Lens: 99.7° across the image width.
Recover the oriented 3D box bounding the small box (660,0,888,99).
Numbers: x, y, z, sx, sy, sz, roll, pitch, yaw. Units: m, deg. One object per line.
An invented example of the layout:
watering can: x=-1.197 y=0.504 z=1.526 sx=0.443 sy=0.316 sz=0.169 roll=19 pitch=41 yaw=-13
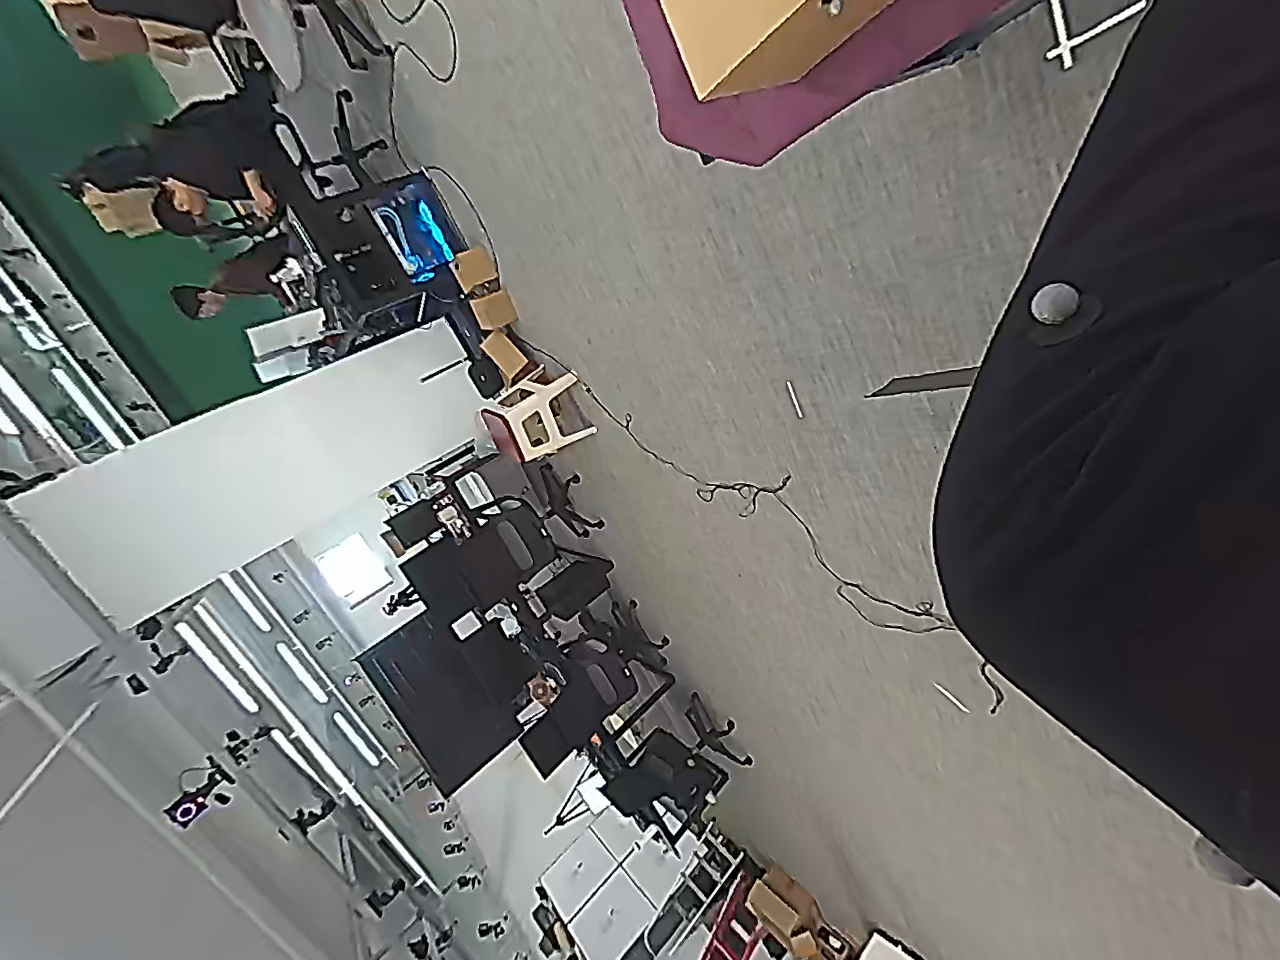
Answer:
small box: x=0.129 y=-0.491 z=0.490 sx=0.179 sy=0.176 sz=0.168 roll=-6 pitch=115 yaw=56
